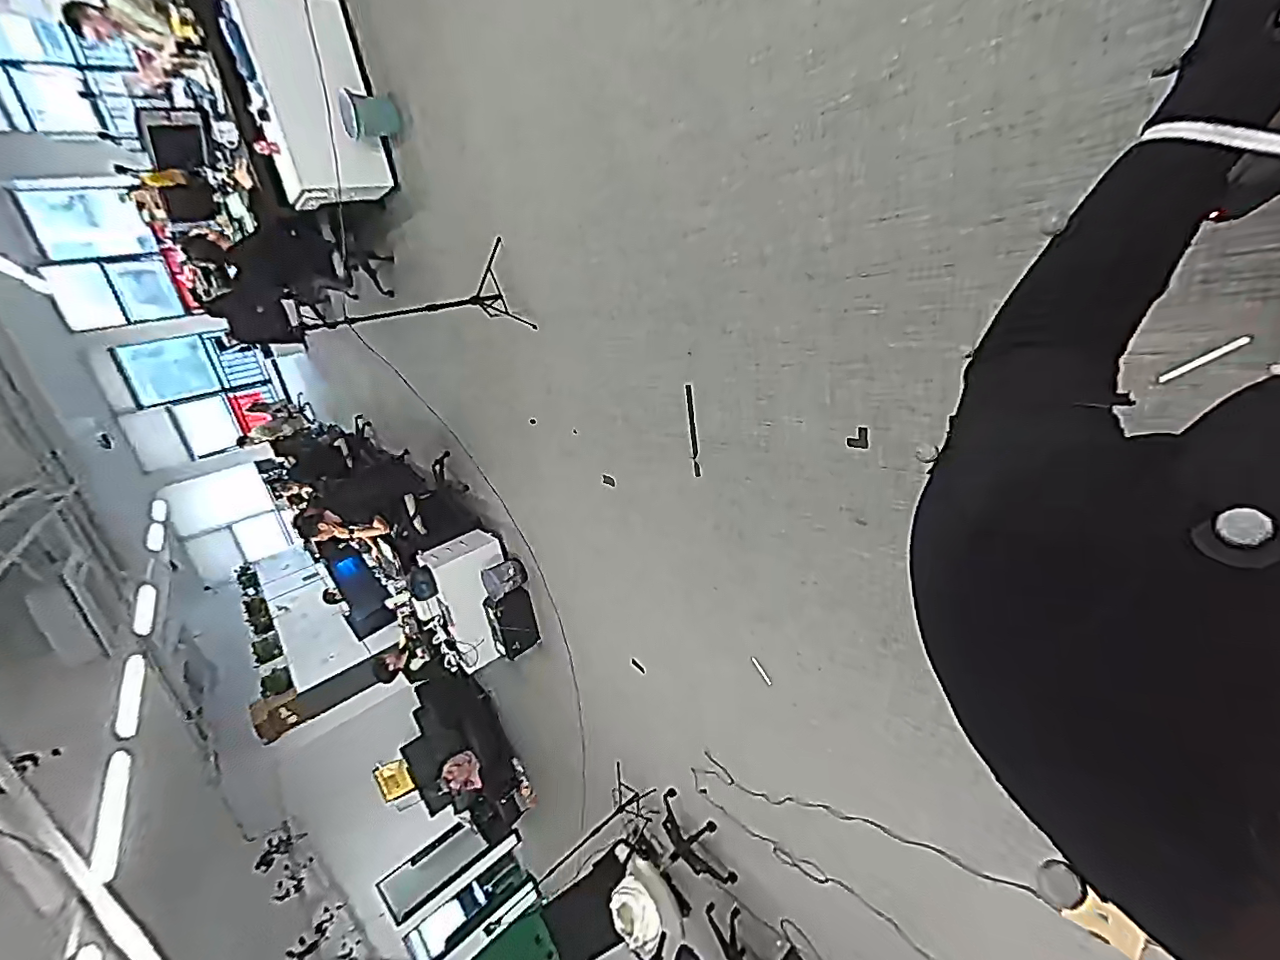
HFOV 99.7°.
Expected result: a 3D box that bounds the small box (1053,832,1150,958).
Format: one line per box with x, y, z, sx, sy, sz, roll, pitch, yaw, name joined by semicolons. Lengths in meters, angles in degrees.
1.272;1.133;1.489;0.168;0.176;0.179;15;121;47;small box
